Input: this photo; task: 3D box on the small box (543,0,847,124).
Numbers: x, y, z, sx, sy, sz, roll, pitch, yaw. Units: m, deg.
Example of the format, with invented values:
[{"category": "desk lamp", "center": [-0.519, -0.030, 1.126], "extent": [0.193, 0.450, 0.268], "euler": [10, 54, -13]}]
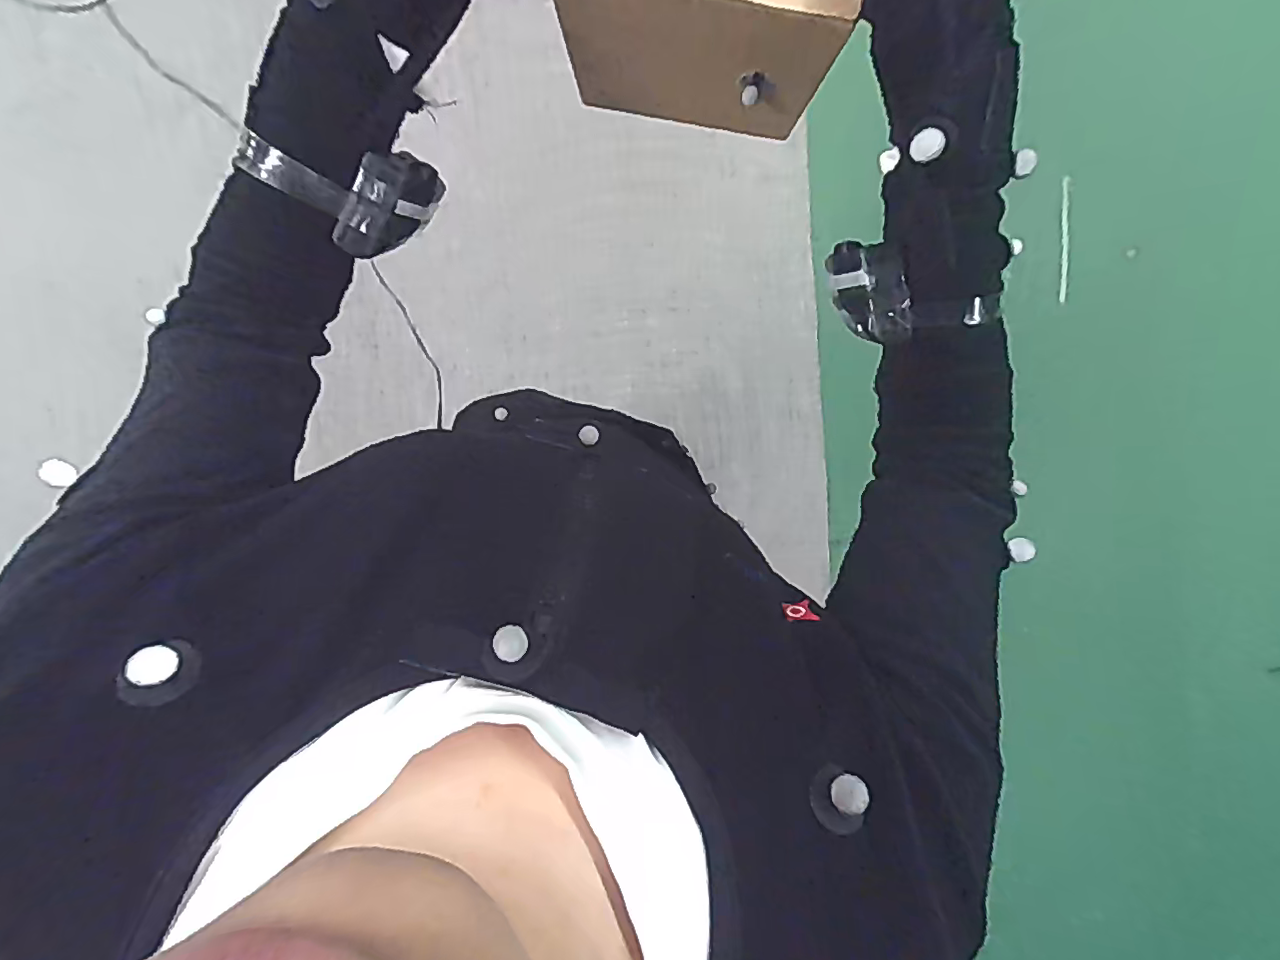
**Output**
[{"category": "small box", "center": [0.040, -0.362, 0.352], "extent": [0.179, 0.176, 0.168], "euler": [9, 102, 1]}]
